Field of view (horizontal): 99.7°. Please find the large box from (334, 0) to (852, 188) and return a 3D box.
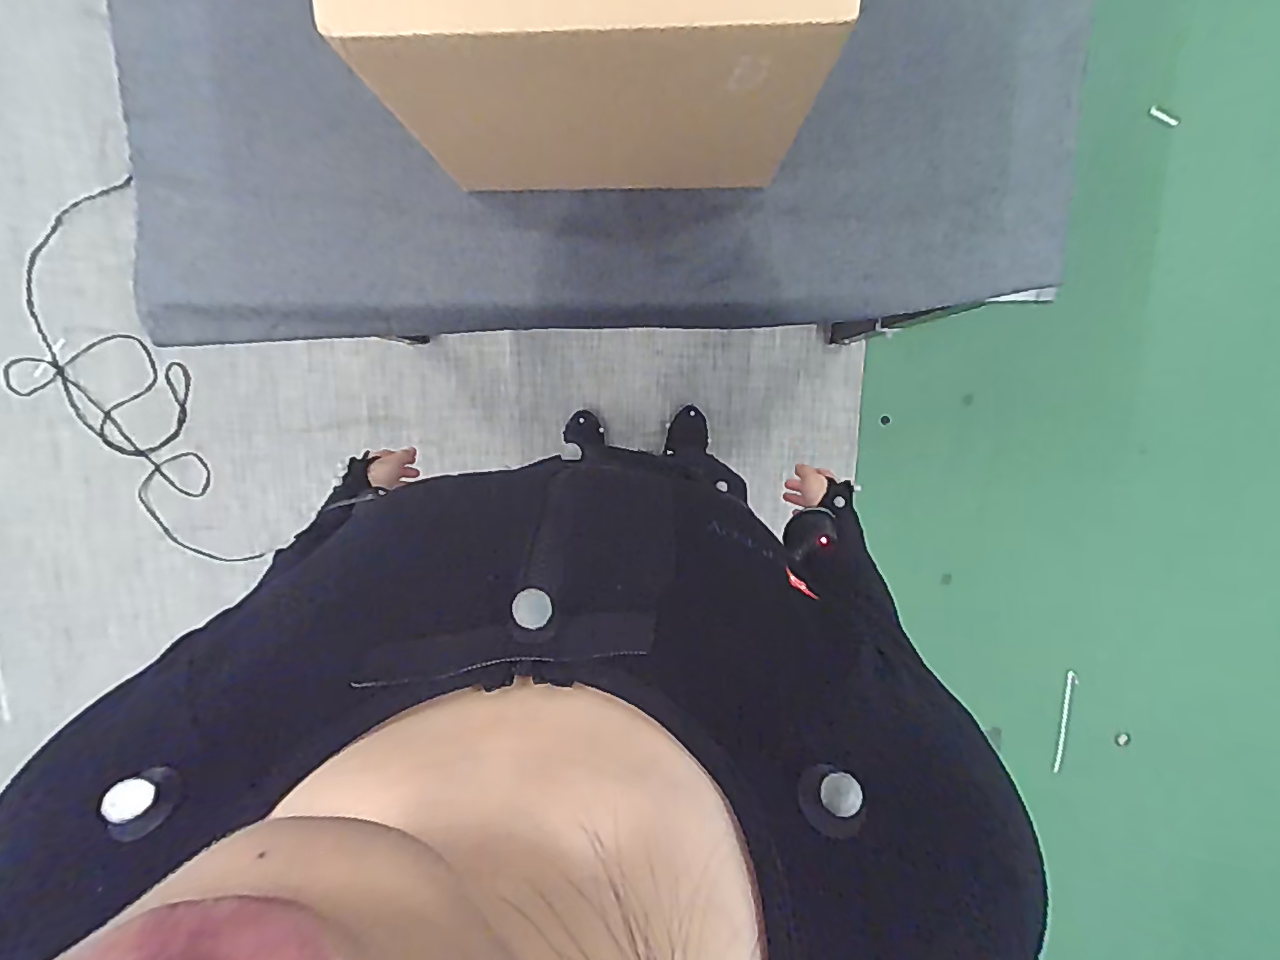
[{"bbox_3d":[-0.040,-0.516,0.539,0.408,0.320,0.320,-1,99,1],"label":"large box"}]
